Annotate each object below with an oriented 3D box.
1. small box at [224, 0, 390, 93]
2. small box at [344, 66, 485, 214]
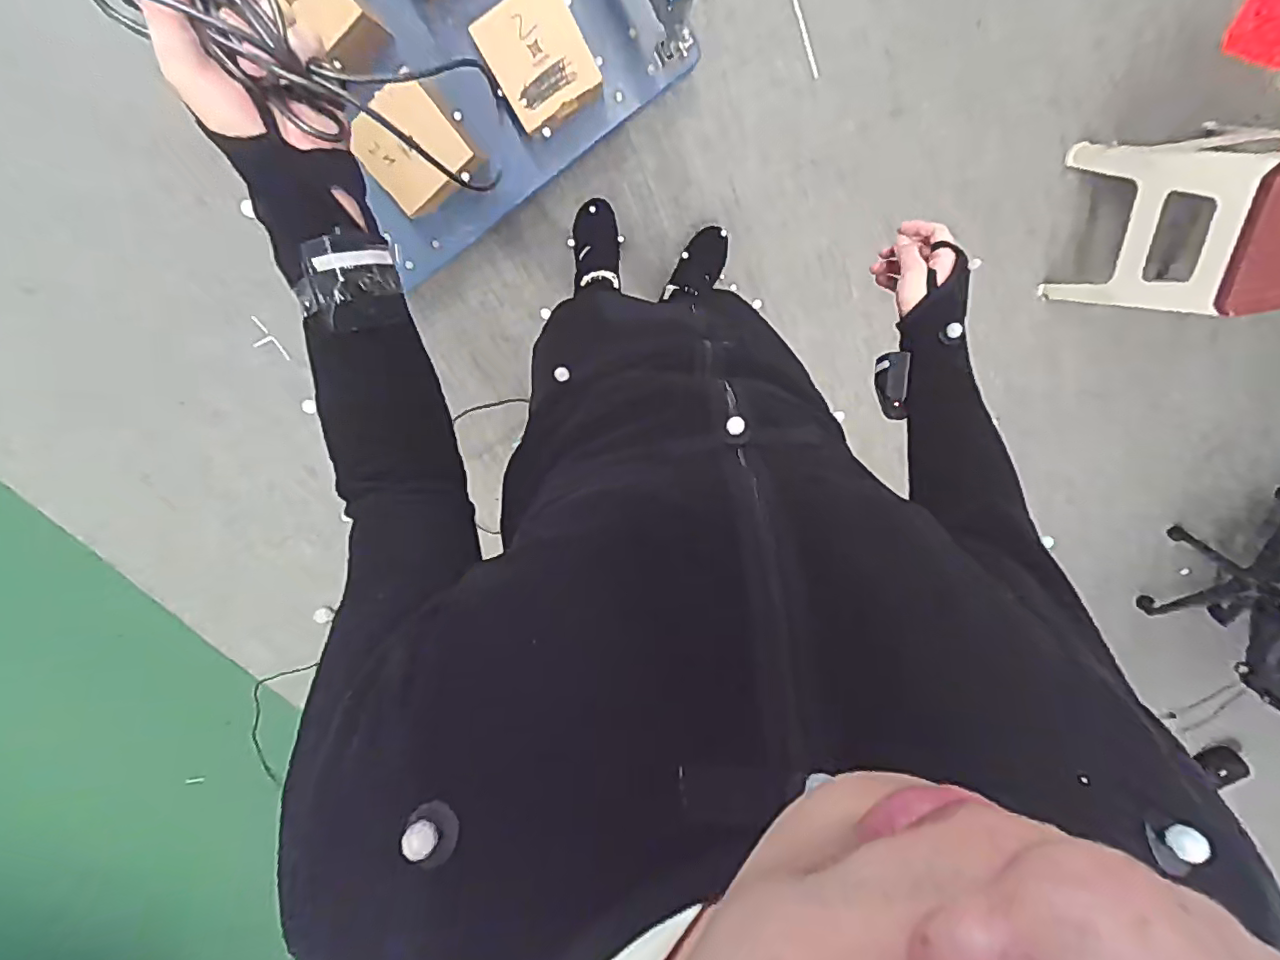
[{"bbox_3d":[-0.573,-0.818,0.941,0.179,0.176,0.168,-35,116,13],"label":"small box"},{"bbox_3d":[-0.422,-0.648,1.047,0.179,0.176,0.168,-35,115,14],"label":"small box"}]
